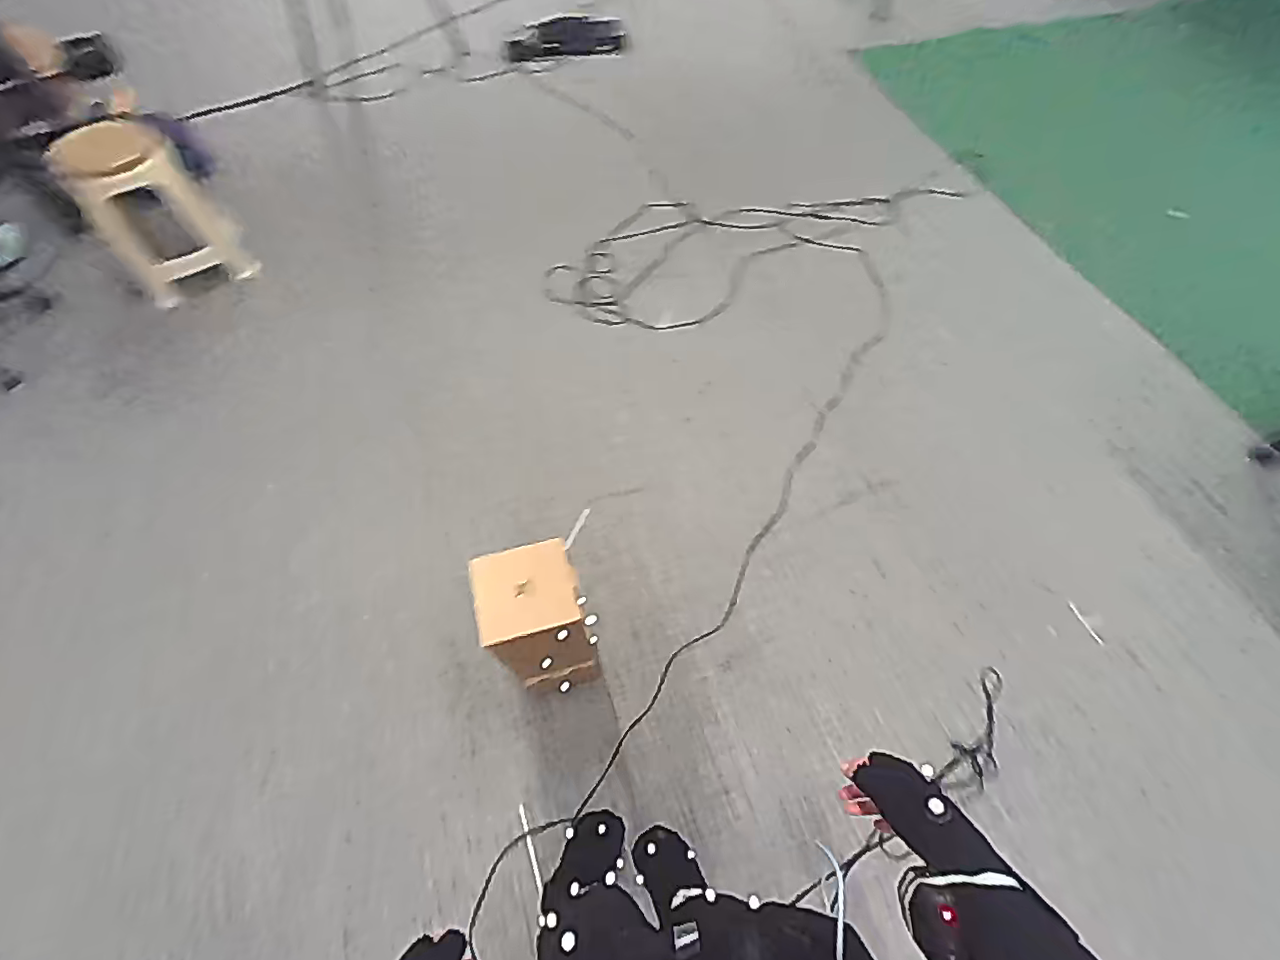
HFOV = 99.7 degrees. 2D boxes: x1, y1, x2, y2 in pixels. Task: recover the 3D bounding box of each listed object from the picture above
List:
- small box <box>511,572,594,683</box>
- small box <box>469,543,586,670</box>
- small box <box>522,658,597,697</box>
[{"bbox_3d":[-0.205,0.326,1.173,0.179,0.176,0.168,-14,61,-10],"label":"small box"},{"bbox_3d":[-0.210,0.246,1.031,0.179,0.176,0.168,-14,61,-10],"label":"small box"},{"bbox_3d":[-0.206,0.415,1.311,0.168,0.176,0.179,-15,61,-10],"label":"small box"}]
